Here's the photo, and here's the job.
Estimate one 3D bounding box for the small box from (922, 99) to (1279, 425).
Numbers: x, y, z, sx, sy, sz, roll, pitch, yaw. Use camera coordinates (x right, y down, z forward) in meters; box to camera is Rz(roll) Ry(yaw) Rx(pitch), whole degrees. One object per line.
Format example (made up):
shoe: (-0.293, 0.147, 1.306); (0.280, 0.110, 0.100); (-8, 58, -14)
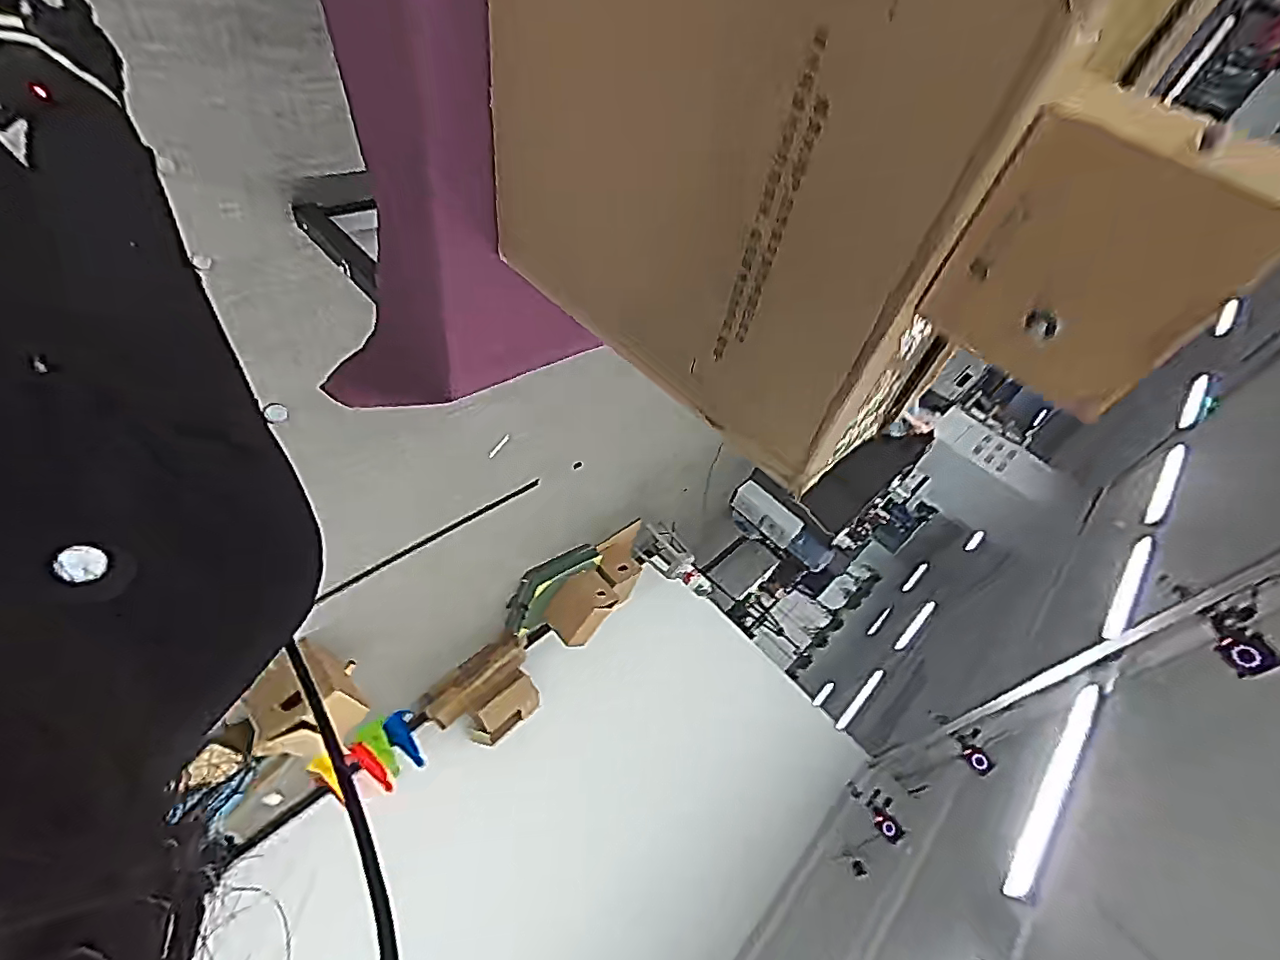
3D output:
small box: (0.374, -0.182, 0.443); (0.179, 0.176, 0.168); (-34, 157, -32)
